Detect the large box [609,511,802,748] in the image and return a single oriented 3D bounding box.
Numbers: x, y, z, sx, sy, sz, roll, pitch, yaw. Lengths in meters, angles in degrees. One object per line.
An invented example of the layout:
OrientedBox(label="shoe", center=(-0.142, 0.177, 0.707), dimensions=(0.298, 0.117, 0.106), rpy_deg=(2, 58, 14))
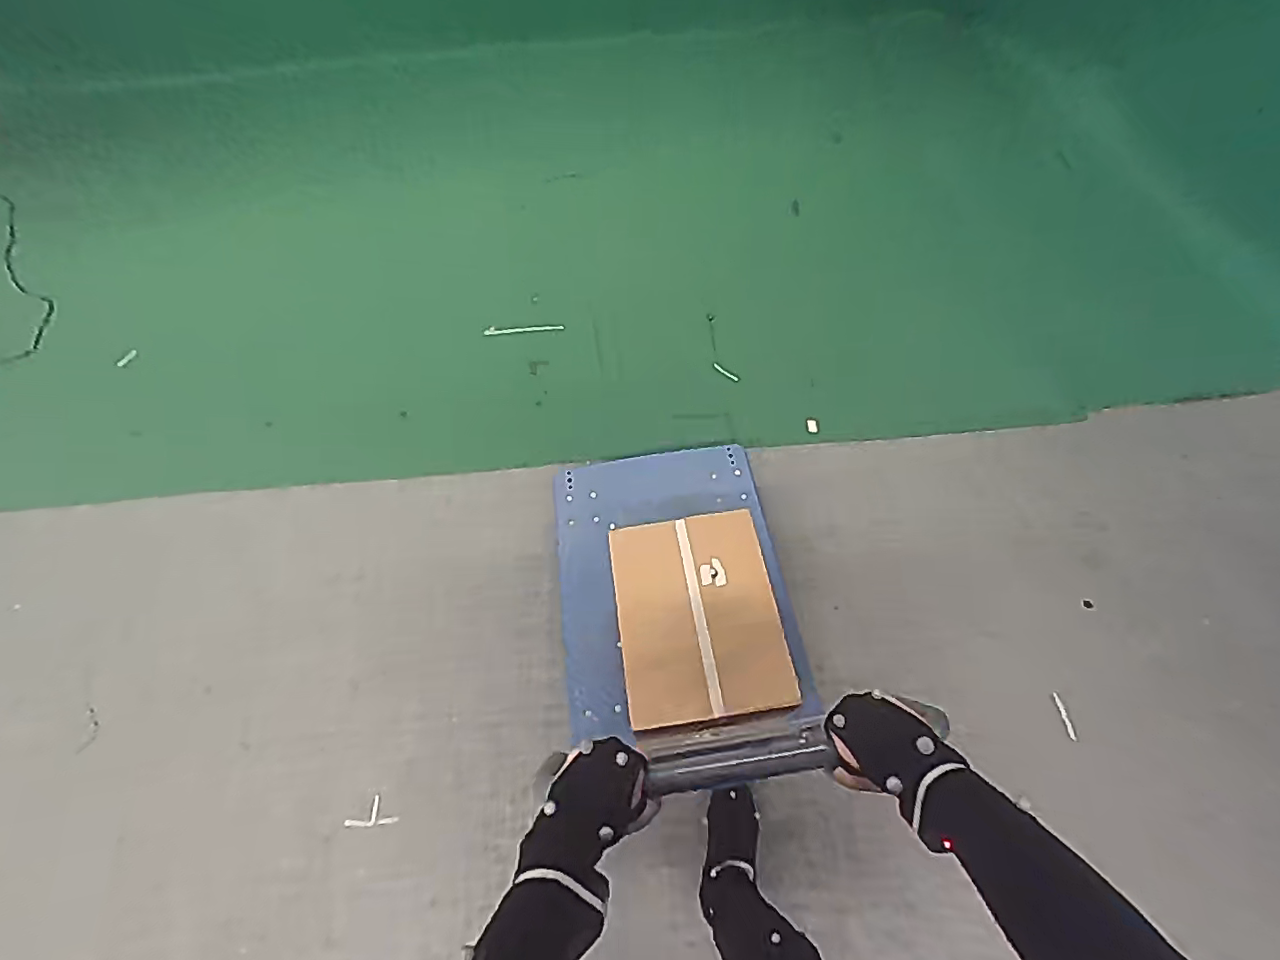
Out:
OrientedBox(label="large box", center=(0.123, 0.335, 1.199), dimensions=(0.320, 0.320, 0.408), rpy_deg=(-9, 58, -2))
